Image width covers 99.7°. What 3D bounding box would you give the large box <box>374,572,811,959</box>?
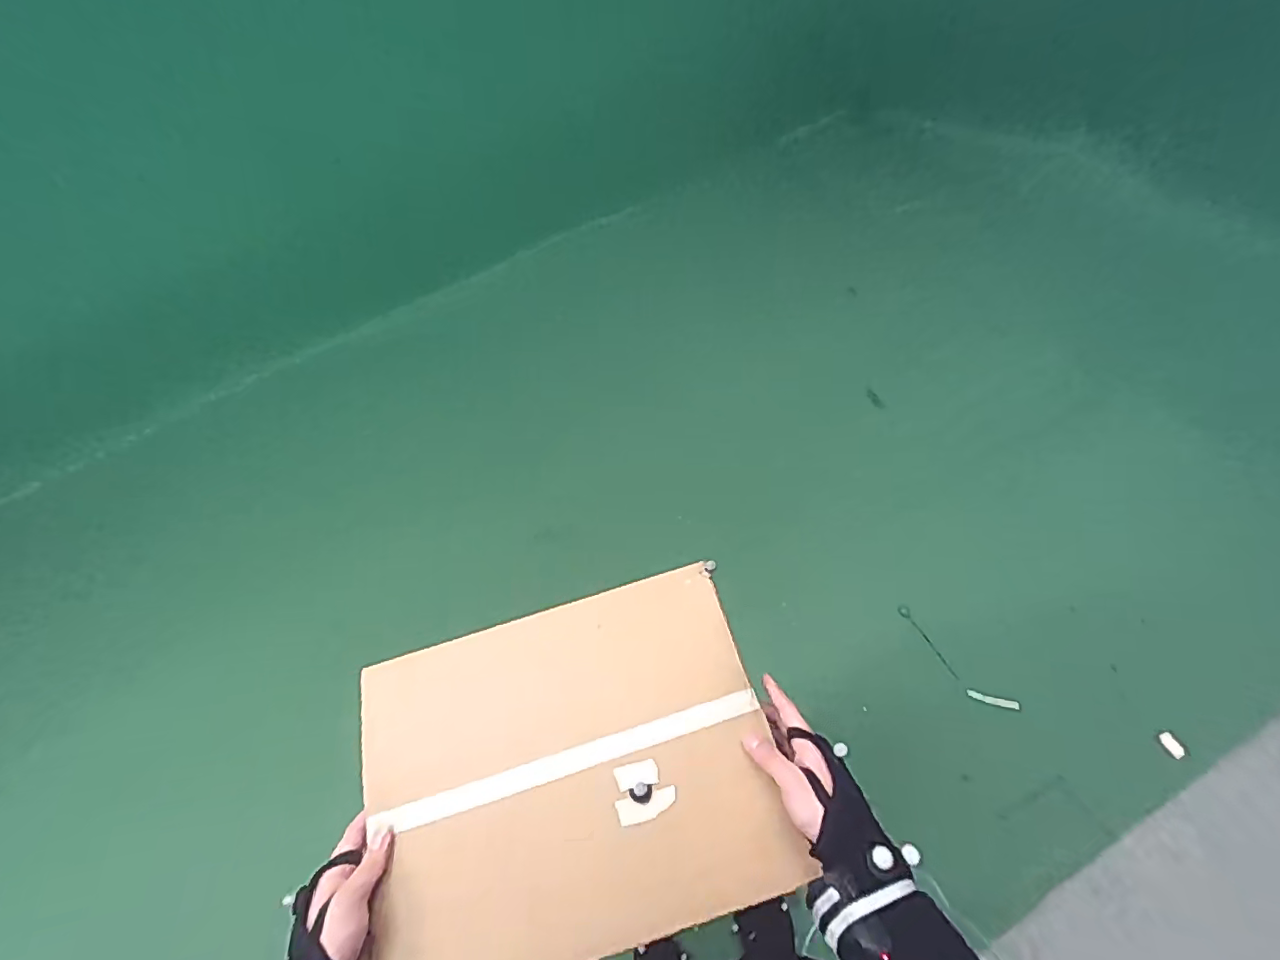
[{"bbox_3d":[-0.060,0.364,0.683,0.408,0.320,0.320,-16,62,-4],"label":"large box"}]
